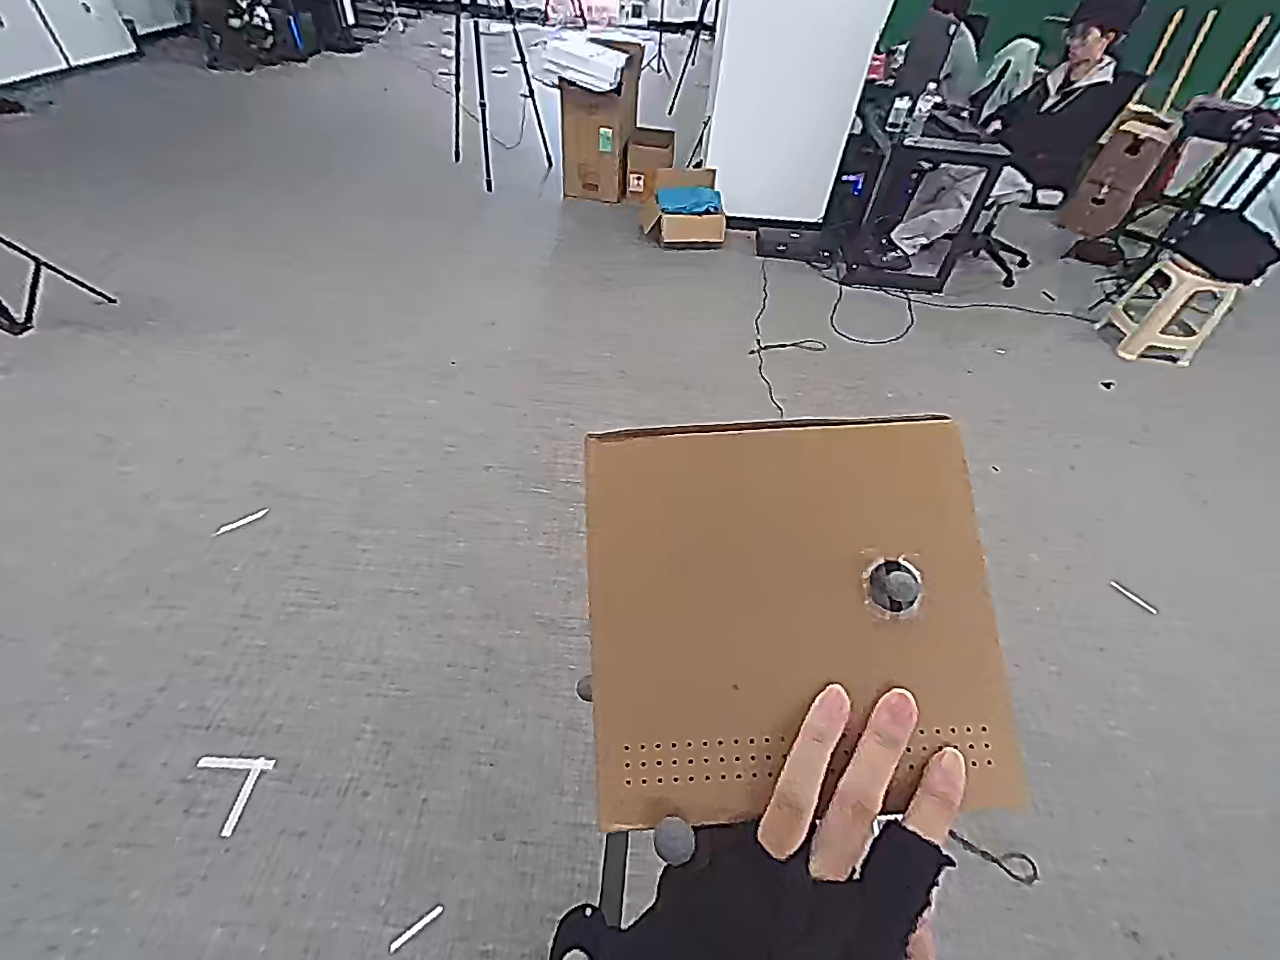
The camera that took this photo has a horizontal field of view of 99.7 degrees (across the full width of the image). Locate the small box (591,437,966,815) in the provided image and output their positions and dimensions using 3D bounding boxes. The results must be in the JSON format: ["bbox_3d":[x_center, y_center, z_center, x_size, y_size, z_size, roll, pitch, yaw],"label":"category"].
[{"bbox_3d":[0.067,0.080,0.328,0.179,0.168,0.176,-3,77,0],"label":"small box"}]
